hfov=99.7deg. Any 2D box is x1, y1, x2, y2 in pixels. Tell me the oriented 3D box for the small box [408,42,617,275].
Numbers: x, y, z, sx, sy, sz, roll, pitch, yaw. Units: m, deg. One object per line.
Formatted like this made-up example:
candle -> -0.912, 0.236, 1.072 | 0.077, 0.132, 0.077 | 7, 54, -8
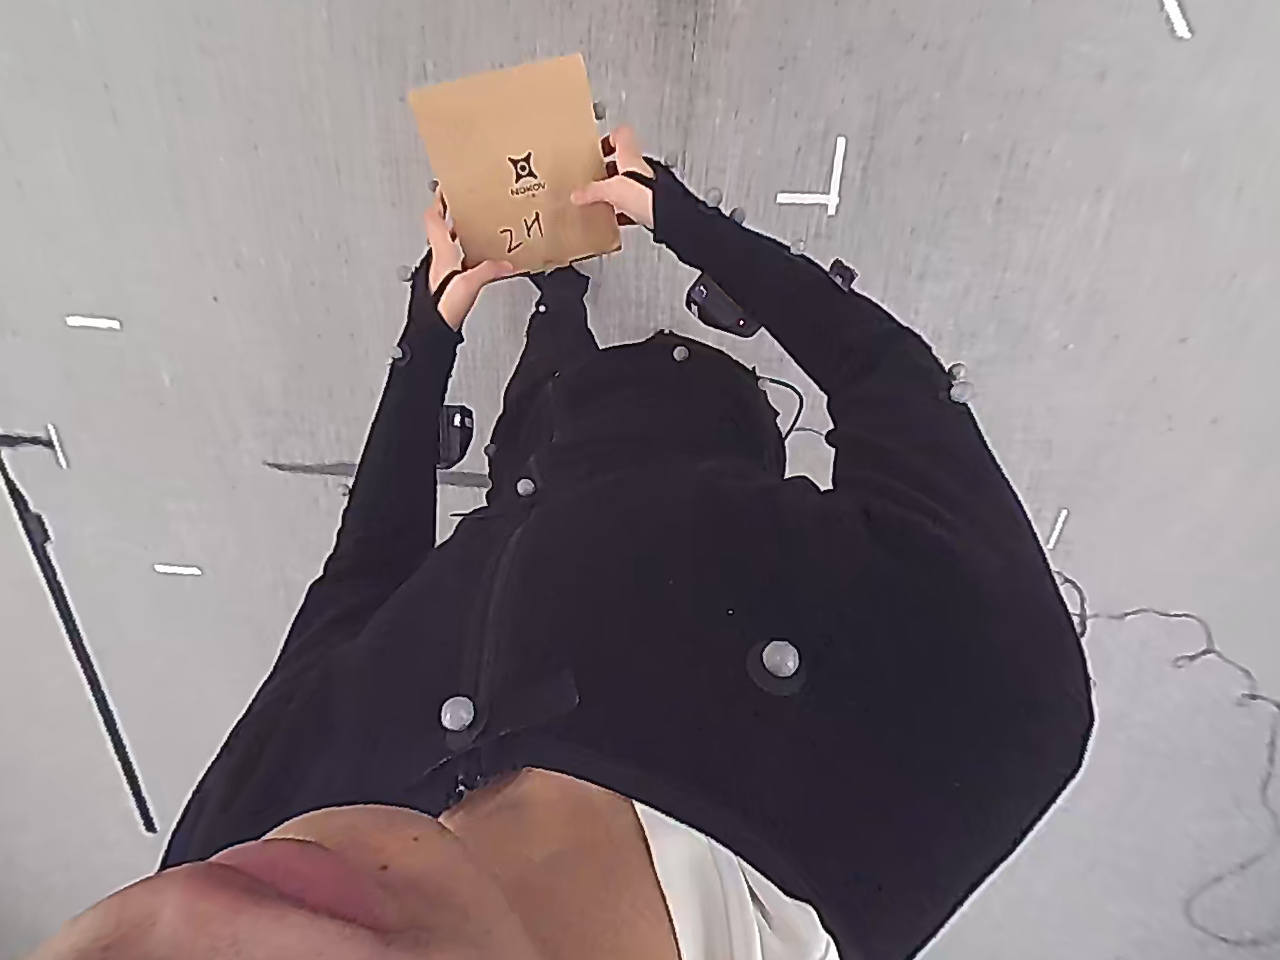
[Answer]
small box -> -0.133, -0.346, 0.599 | 0.168, 0.176, 0.179 | -15, 122, -4
